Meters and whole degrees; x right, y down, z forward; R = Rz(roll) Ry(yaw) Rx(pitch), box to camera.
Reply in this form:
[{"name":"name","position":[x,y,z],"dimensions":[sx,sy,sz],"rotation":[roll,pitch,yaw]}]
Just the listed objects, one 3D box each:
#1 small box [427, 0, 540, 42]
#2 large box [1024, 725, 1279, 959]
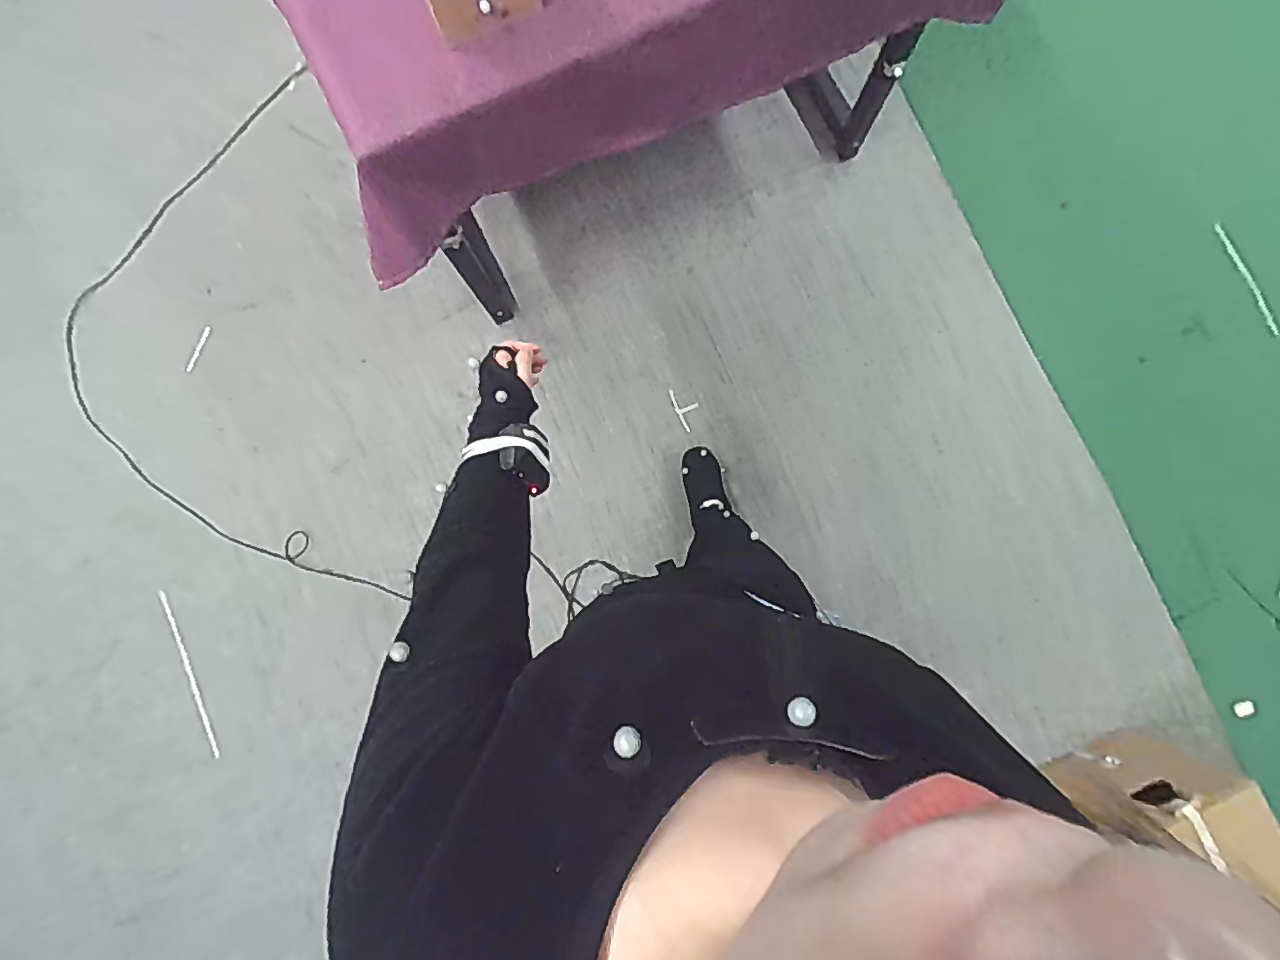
[{"name":"small box","position":[-0.260,-0.797,0.776],"dimensions":[0.168,0.176,0.179],"rotation":[-23,85,-1]},{"name":"large box","position":[1.224,0.873,1.268],"dimensions":[0.320,0.320,0.408],"rotation":[-24,86,-2]}]
